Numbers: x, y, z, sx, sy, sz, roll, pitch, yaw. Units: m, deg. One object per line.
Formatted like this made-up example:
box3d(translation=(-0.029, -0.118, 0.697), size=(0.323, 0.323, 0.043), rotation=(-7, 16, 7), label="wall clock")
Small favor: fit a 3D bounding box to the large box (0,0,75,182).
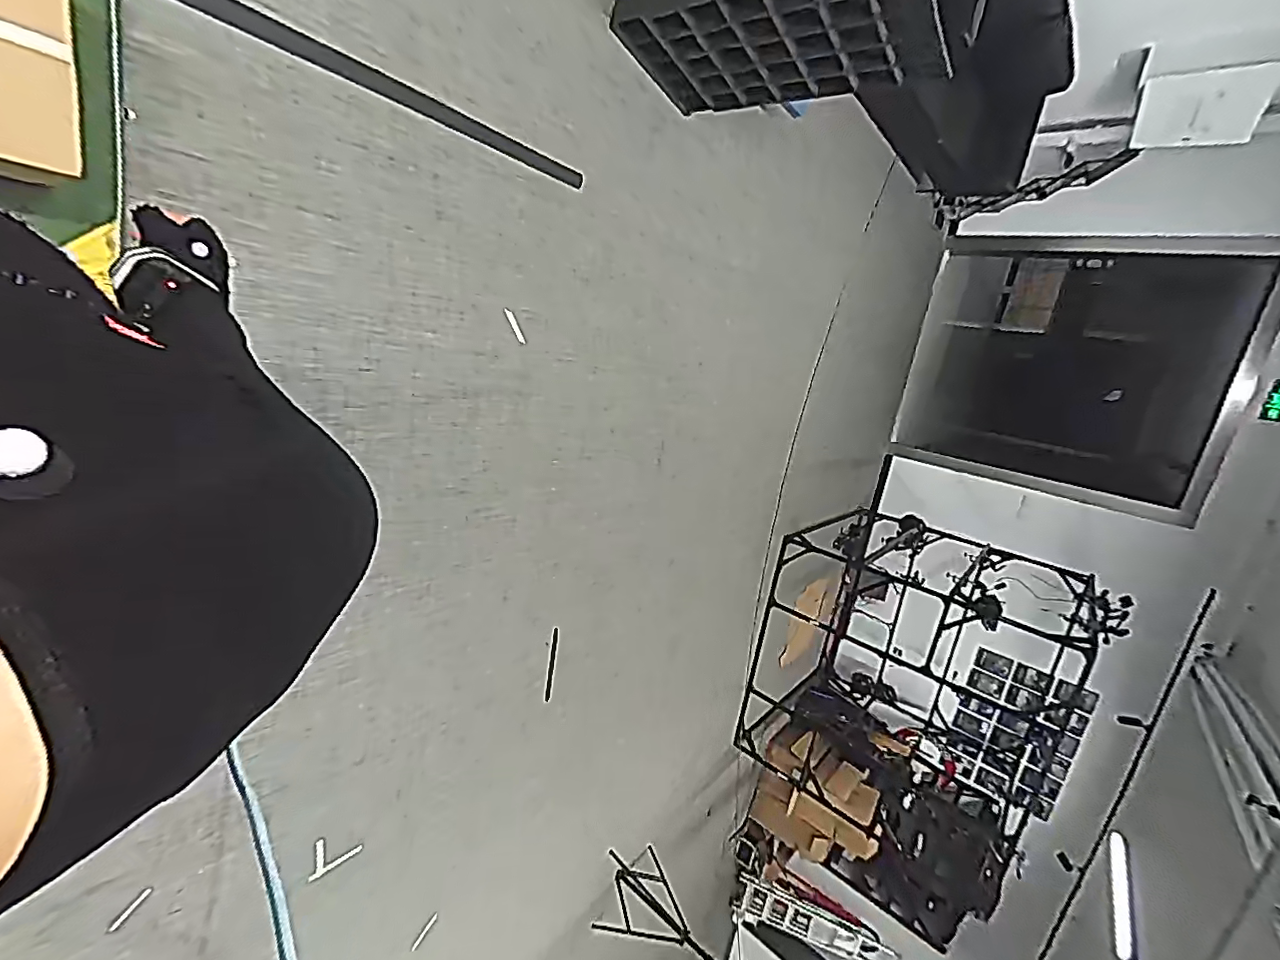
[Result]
box3d(translation=(-1.046, -0.614, 0.686), size=(0.408, 0.320, 0.320), rotation=(-9, 113, -52), label="large box")
